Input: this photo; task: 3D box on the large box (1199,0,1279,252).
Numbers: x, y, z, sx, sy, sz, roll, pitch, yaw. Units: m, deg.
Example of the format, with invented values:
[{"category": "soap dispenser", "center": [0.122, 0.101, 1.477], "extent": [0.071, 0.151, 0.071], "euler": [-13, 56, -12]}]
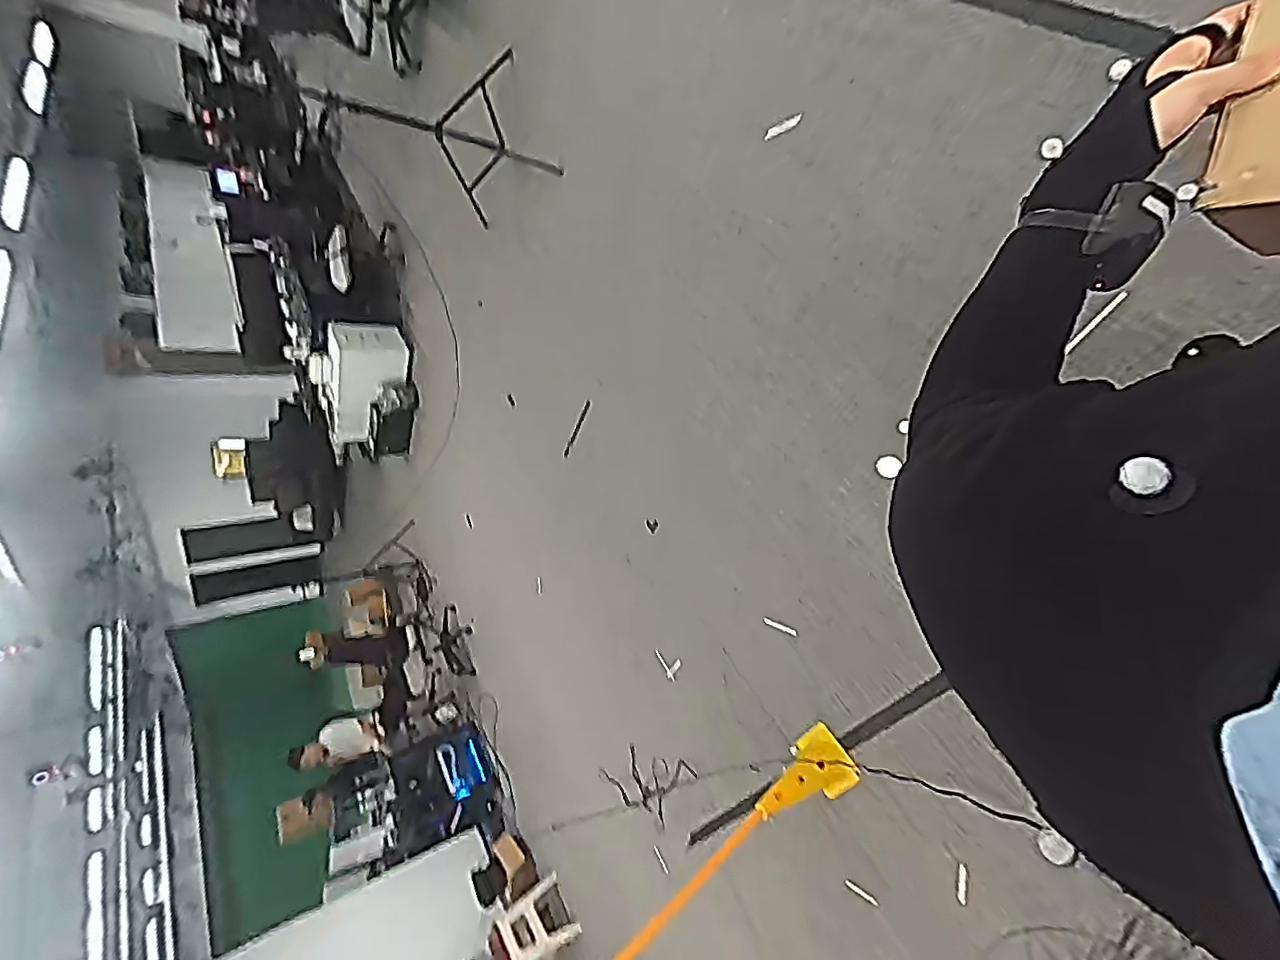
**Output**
[{"category": "large box", "center": [0.669, -0.328, 0.303], "extent": [0.408, 0.320, 0.320], "euler": [22, 113, 53]}]
